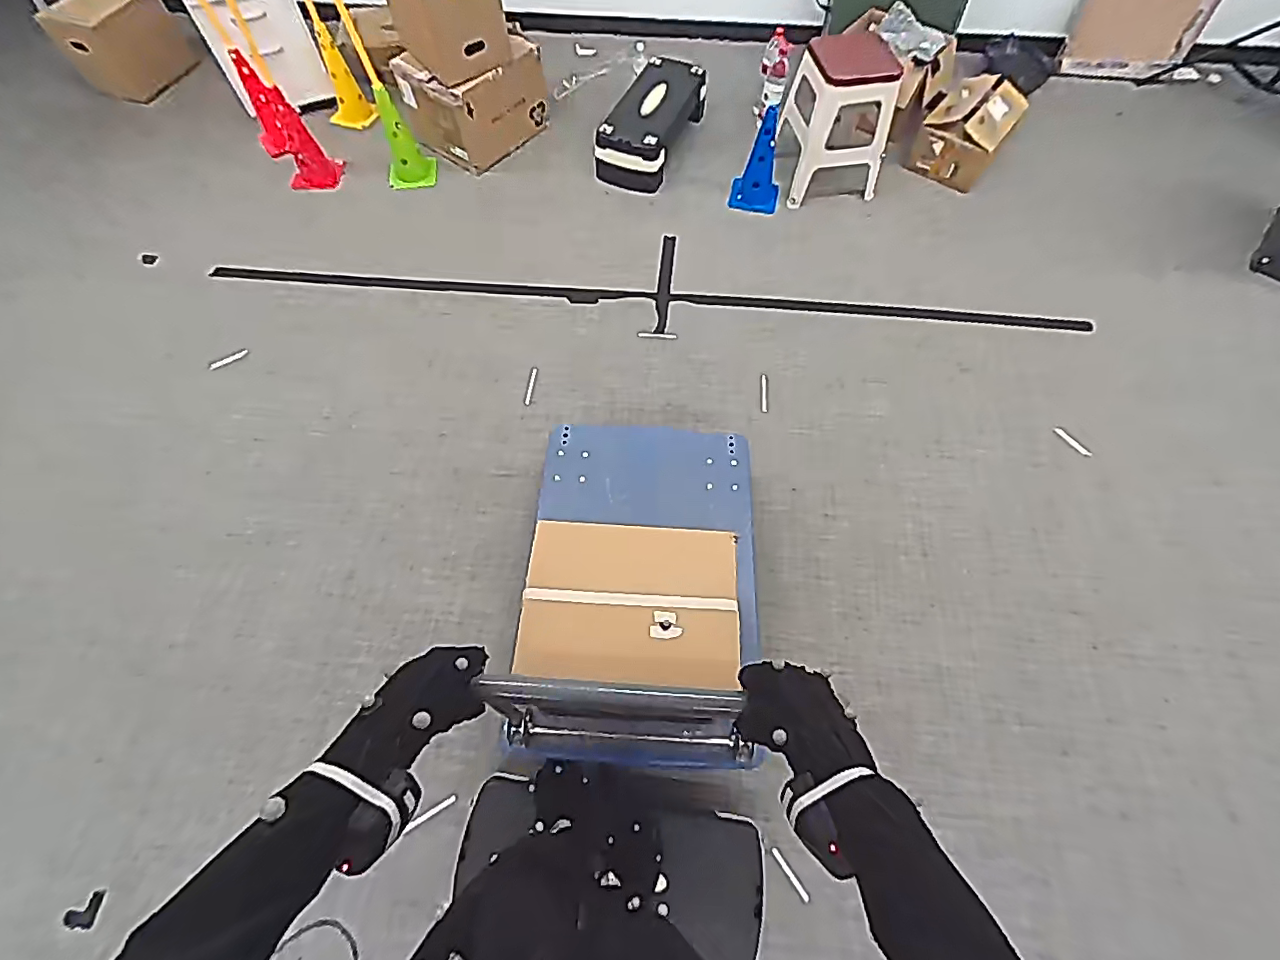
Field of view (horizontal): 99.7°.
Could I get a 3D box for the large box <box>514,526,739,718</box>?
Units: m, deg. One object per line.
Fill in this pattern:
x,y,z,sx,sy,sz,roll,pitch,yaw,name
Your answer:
-0.024,0.310,1.144,0.408,0.320,0.320,4,60,0,large box
